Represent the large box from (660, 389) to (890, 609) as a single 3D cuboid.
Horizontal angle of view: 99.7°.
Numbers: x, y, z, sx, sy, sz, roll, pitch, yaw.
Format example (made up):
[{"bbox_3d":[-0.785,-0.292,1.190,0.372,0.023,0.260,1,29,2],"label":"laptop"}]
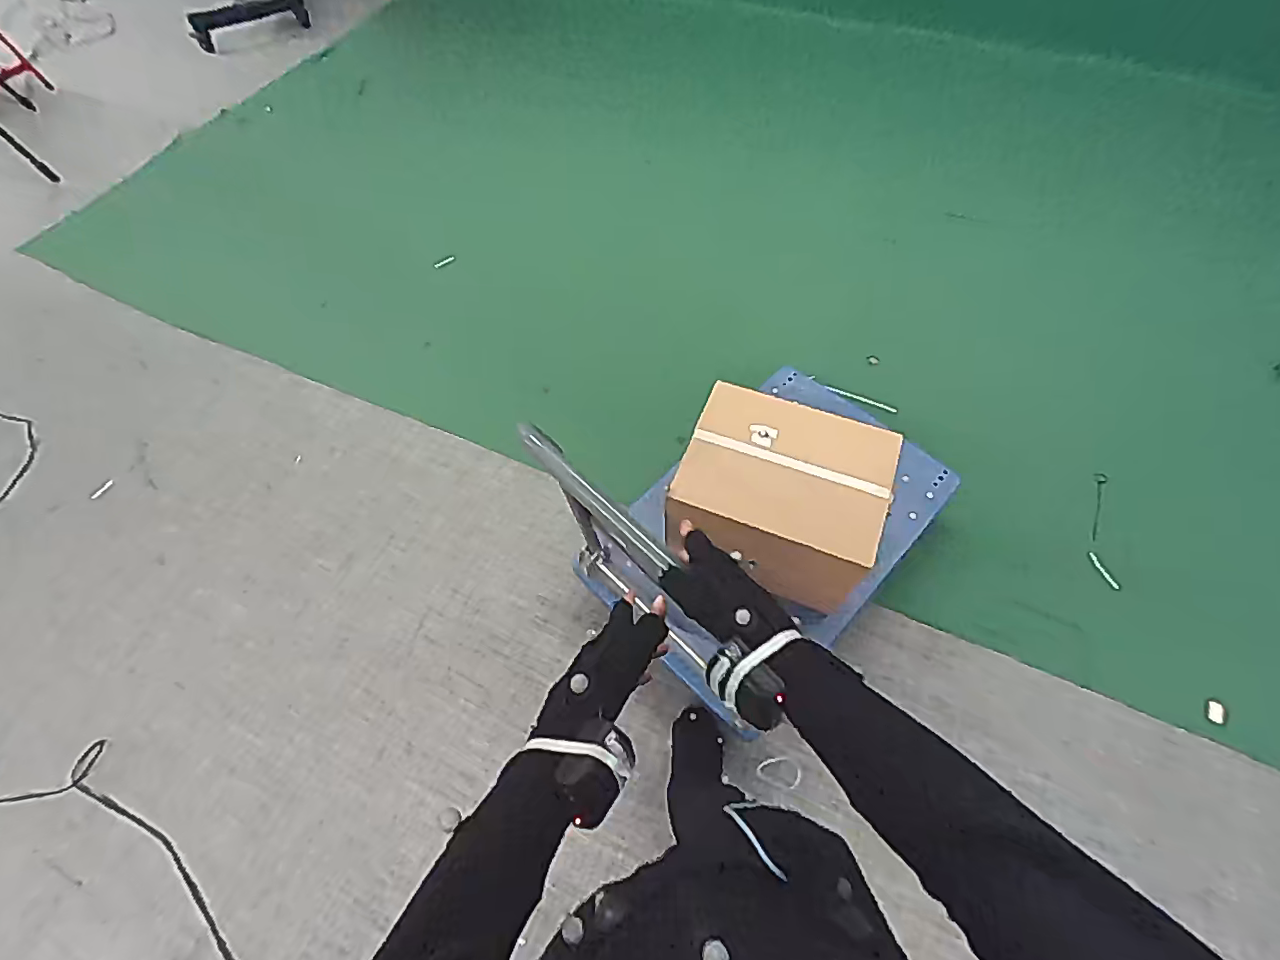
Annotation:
[{"bbox_3d":[0.291,0.049,1.228,0.408,0.320,0.320,19,63,14],"label":"large box"}]
